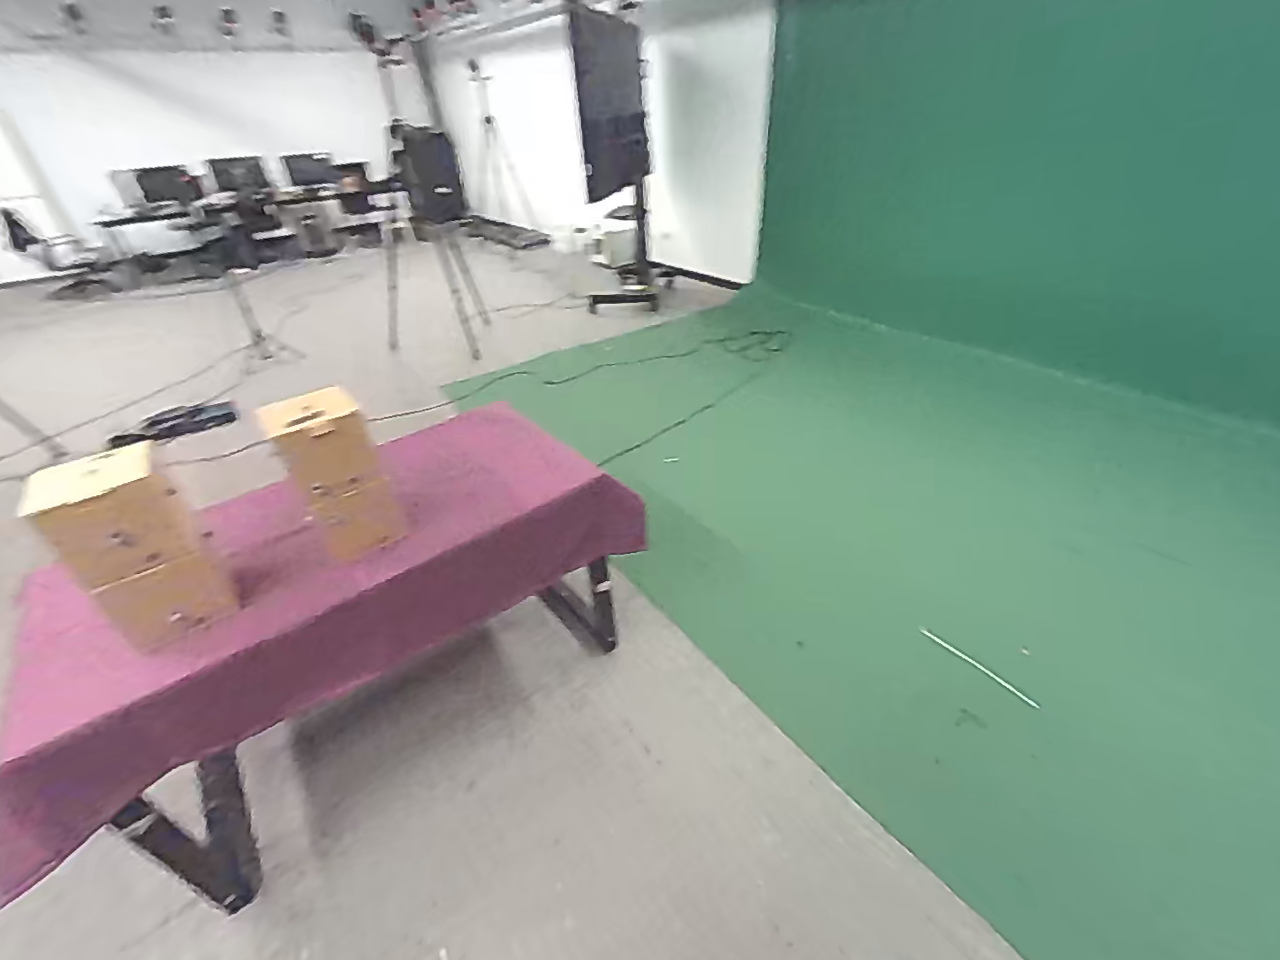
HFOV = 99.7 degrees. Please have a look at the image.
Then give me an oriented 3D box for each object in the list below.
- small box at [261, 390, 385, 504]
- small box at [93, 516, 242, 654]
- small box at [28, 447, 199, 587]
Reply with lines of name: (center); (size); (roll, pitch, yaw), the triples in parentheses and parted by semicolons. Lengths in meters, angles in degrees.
small box: (-0.673, -0.069, 1.158); (0.168, 0.176, 0.179); (-27, 39, -30)
small box: (-0.928, 0.207, 1.074); (0.168, 0.176, 0.179); (-27, 40, -29)
small box: (-0.940, 0.069, 0.984); (0.168, 0.176, 0.179); (-25, 40, -29)
